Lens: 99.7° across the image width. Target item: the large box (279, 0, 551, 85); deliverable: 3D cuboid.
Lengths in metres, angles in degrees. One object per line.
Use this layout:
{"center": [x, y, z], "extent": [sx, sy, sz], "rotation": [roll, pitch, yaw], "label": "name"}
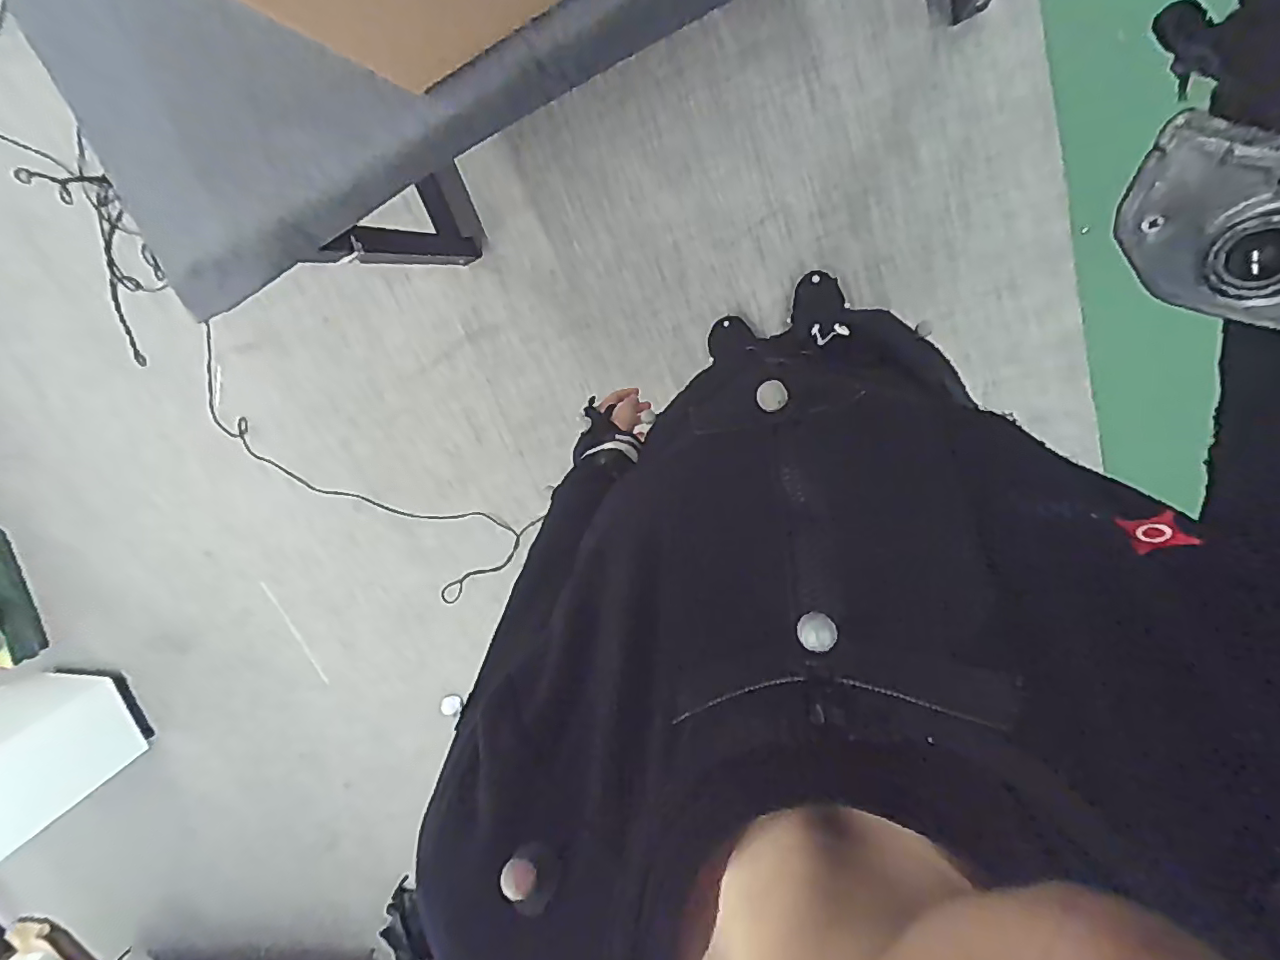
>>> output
{"center": [-0.139, -0.552, 0.329], "extent": [0.408, 0.320, 0.320], "rotation": [-18, 104, 18], "label": "large box"}
